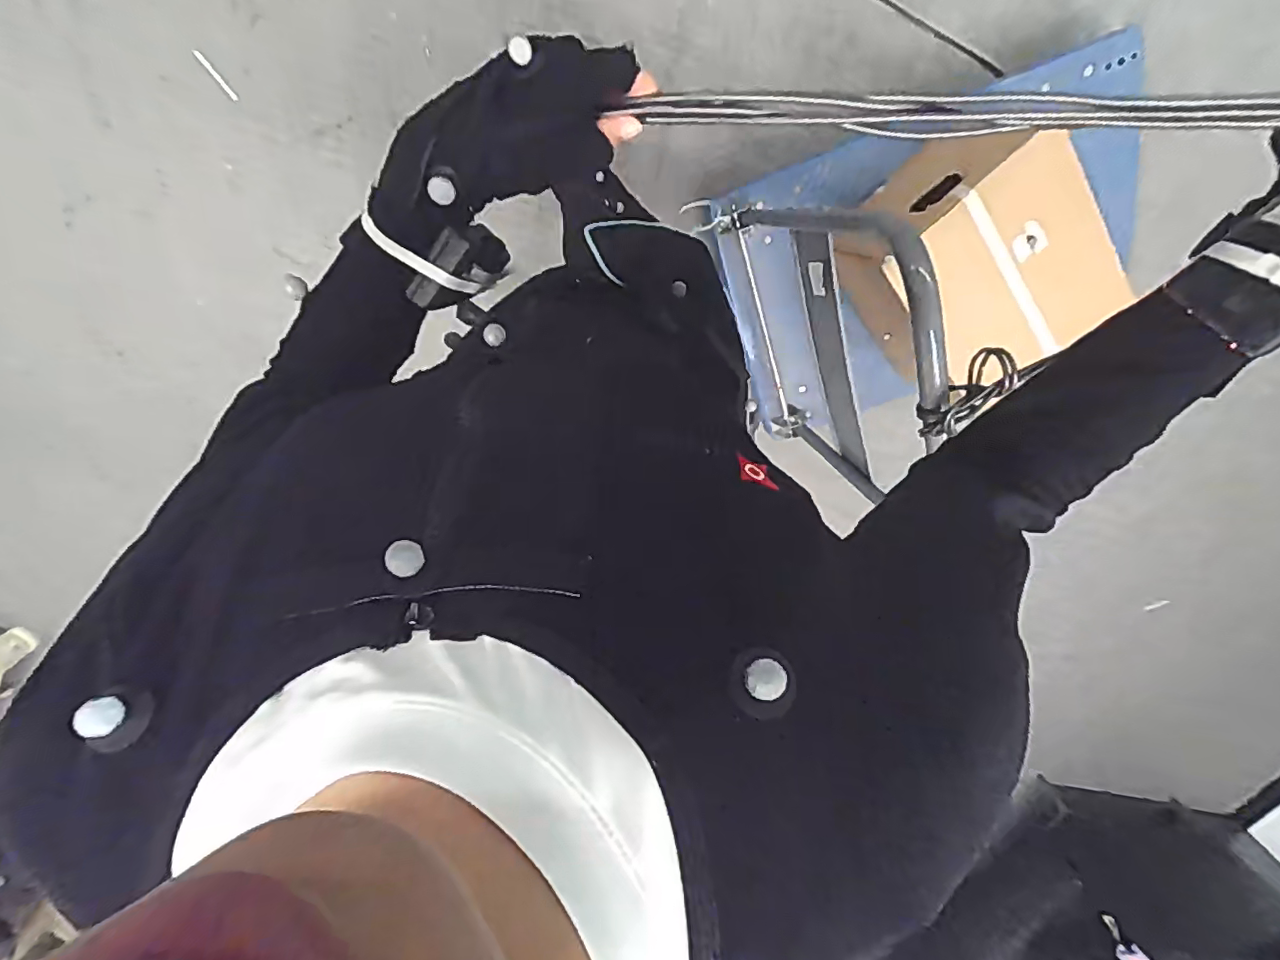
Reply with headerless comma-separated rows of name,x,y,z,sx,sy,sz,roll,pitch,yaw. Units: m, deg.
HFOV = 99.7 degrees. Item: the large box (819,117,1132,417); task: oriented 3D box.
large box,0.628,-0.405,1.061,0.320,0.320,0.408,-39,114,16
